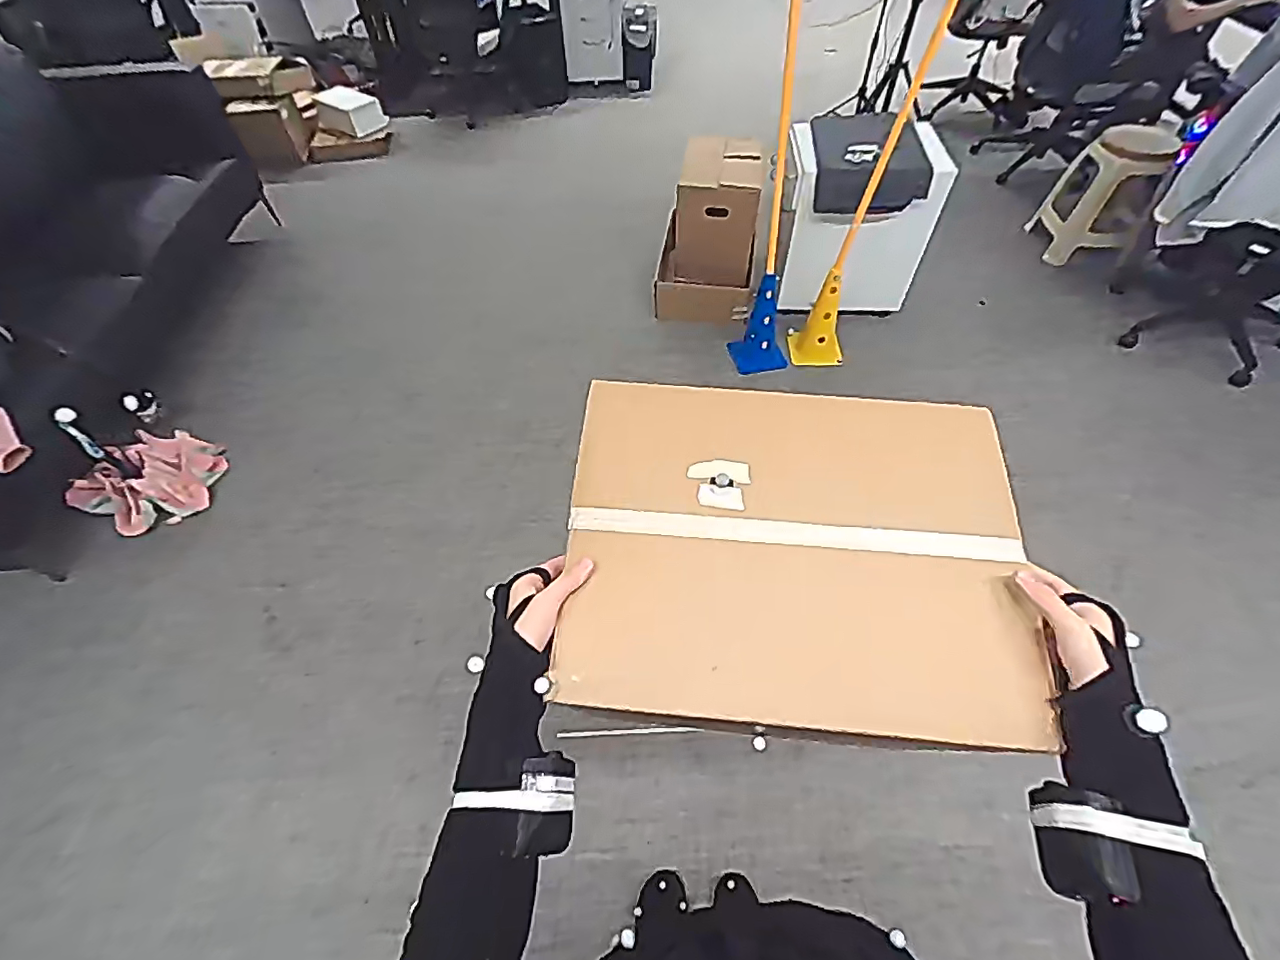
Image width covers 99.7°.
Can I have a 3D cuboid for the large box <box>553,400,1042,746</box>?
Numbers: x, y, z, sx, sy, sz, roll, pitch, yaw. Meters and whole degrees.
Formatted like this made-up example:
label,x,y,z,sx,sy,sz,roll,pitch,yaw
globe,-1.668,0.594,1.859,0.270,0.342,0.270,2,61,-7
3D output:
label,x,y,z,sx,sy,sz,roll,pitch,yaw
large box,0.141,0.124,0.636,0.408,0.320,0.320,4,64,3
